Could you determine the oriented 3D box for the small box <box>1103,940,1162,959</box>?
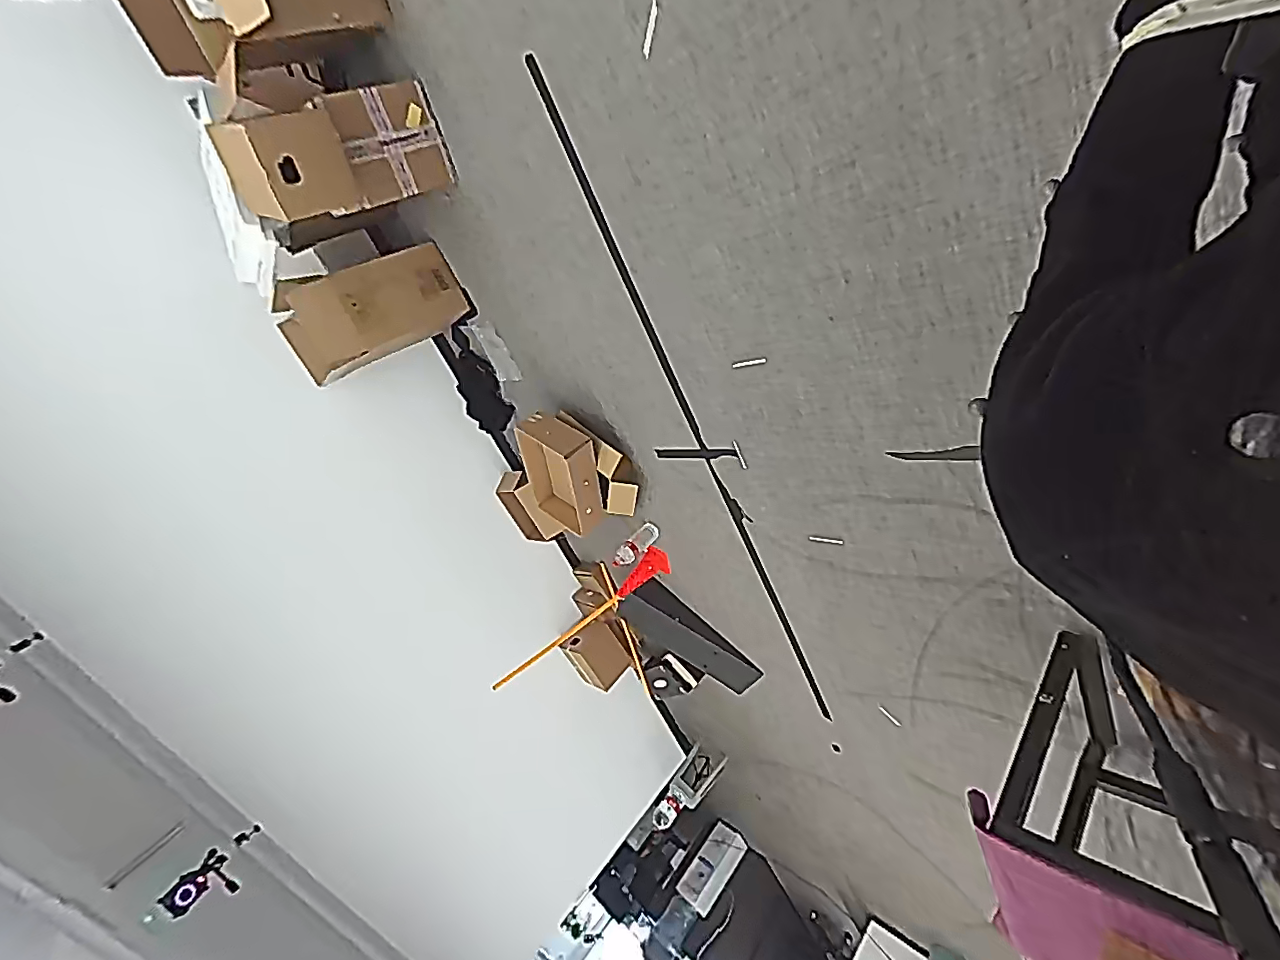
[{"bbox_3d":[1.086,1.126,1.139,0.179,0.176,0.168,4,128,50],"label":"small box"}]

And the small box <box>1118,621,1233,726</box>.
[{"bbox_3d":[1.435,0.509,1.451,0.179,0.176,0.168,19,138,39],"label":"small box"}]
